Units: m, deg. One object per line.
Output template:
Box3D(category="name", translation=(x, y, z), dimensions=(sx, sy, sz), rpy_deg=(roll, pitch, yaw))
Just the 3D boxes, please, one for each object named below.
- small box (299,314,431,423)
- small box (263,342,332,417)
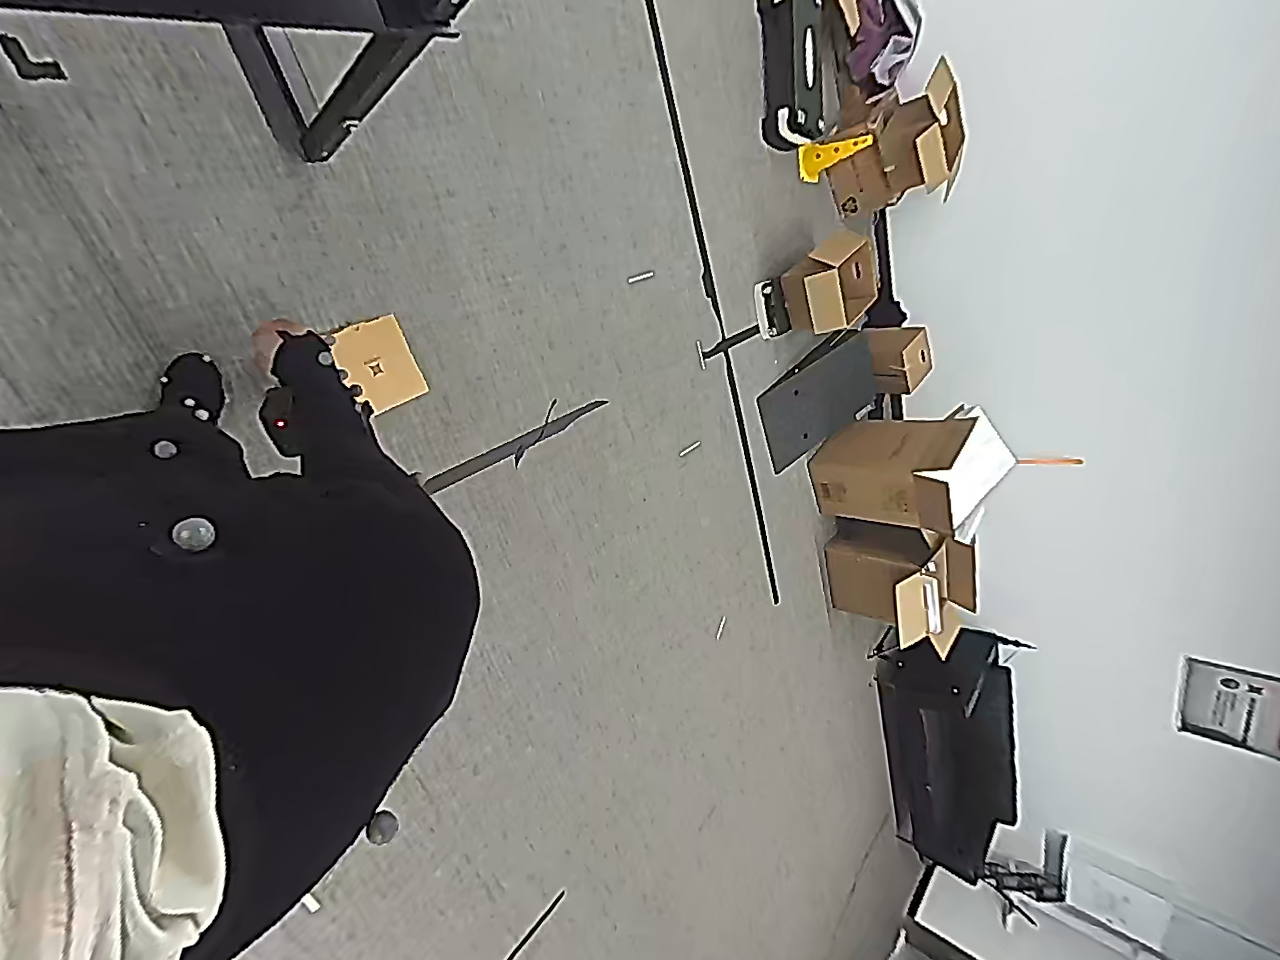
Box3D(category="small box", translation=(-0.586, -0.236, 1.152), dimensions=(0.168, 0.176, 0.179), rpy_deg=(-37, 120, -35))
Box3D(category="small box", translation=(-0.818, -0.271, 1.379), dimensions=(0.179, 0.176, 0.168), rpy_deg=(-35, 119, -35))
